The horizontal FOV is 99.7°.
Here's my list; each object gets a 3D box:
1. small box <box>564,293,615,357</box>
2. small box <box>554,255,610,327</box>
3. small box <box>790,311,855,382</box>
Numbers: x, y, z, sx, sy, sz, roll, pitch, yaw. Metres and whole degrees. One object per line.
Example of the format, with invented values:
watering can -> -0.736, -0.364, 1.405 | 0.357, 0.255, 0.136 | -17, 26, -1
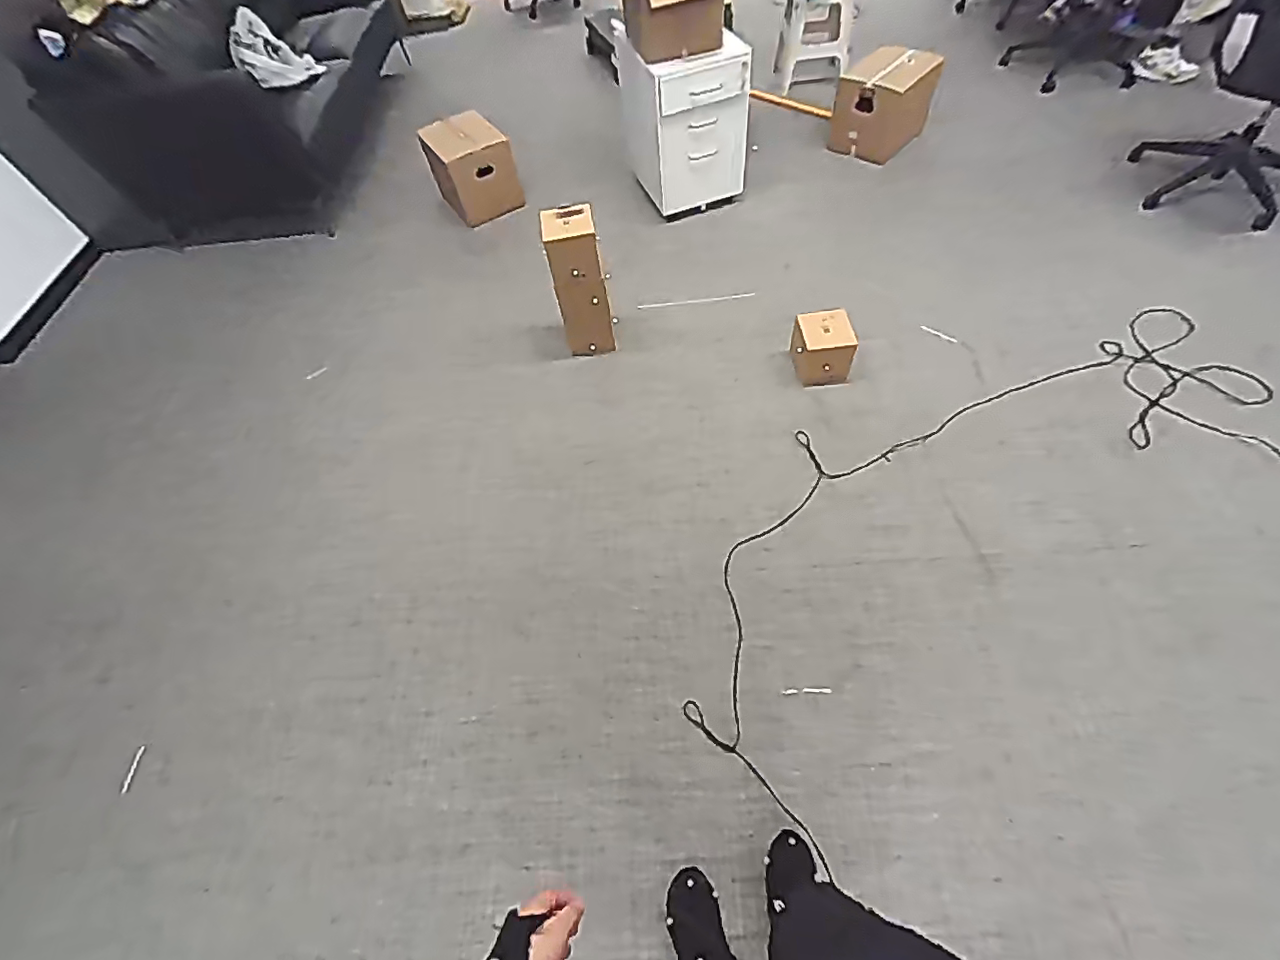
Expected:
small box -> -0.189, -0.593, 2.079 | 0.179, 0.176, 0.168 | -6, 56, 3
small box -> -0.205, -0.674, 1.938 | 0.179, 0.176, 0.168 | -9, 55, 3
small box -> 0.628, -0.455, 1.879 | 0.168, 0.176, 0.179 | -6, 57, 2
